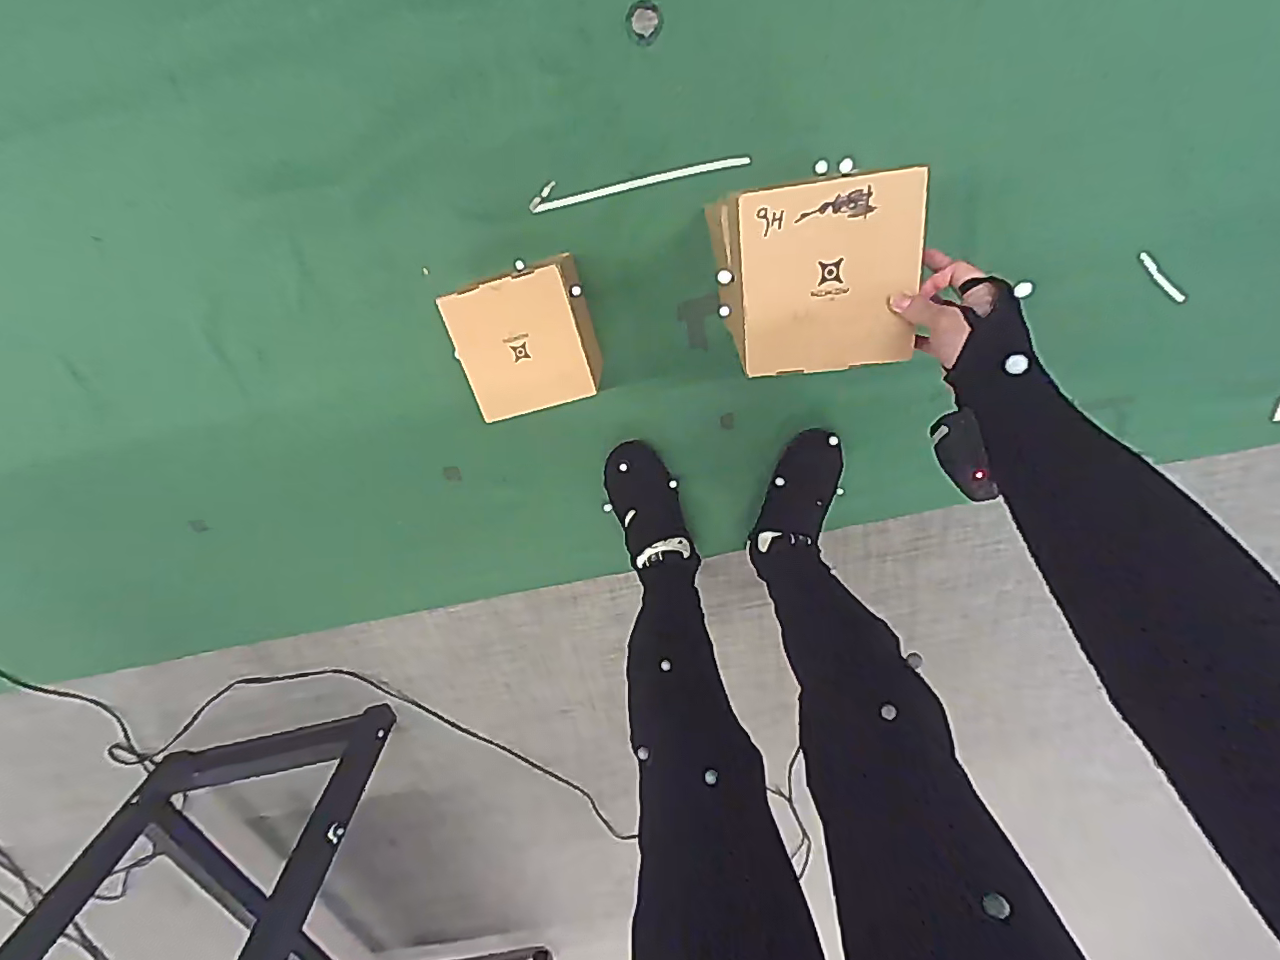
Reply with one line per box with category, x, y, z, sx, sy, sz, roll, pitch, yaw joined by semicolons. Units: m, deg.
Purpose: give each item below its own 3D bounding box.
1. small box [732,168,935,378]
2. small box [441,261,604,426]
small box;0.191;-0.226;0.584;0.168;0.176;0.179;-5;118;7
small box;-0.154;-0.203;0.783;0.168;0.176;0.179;-14;115;6
